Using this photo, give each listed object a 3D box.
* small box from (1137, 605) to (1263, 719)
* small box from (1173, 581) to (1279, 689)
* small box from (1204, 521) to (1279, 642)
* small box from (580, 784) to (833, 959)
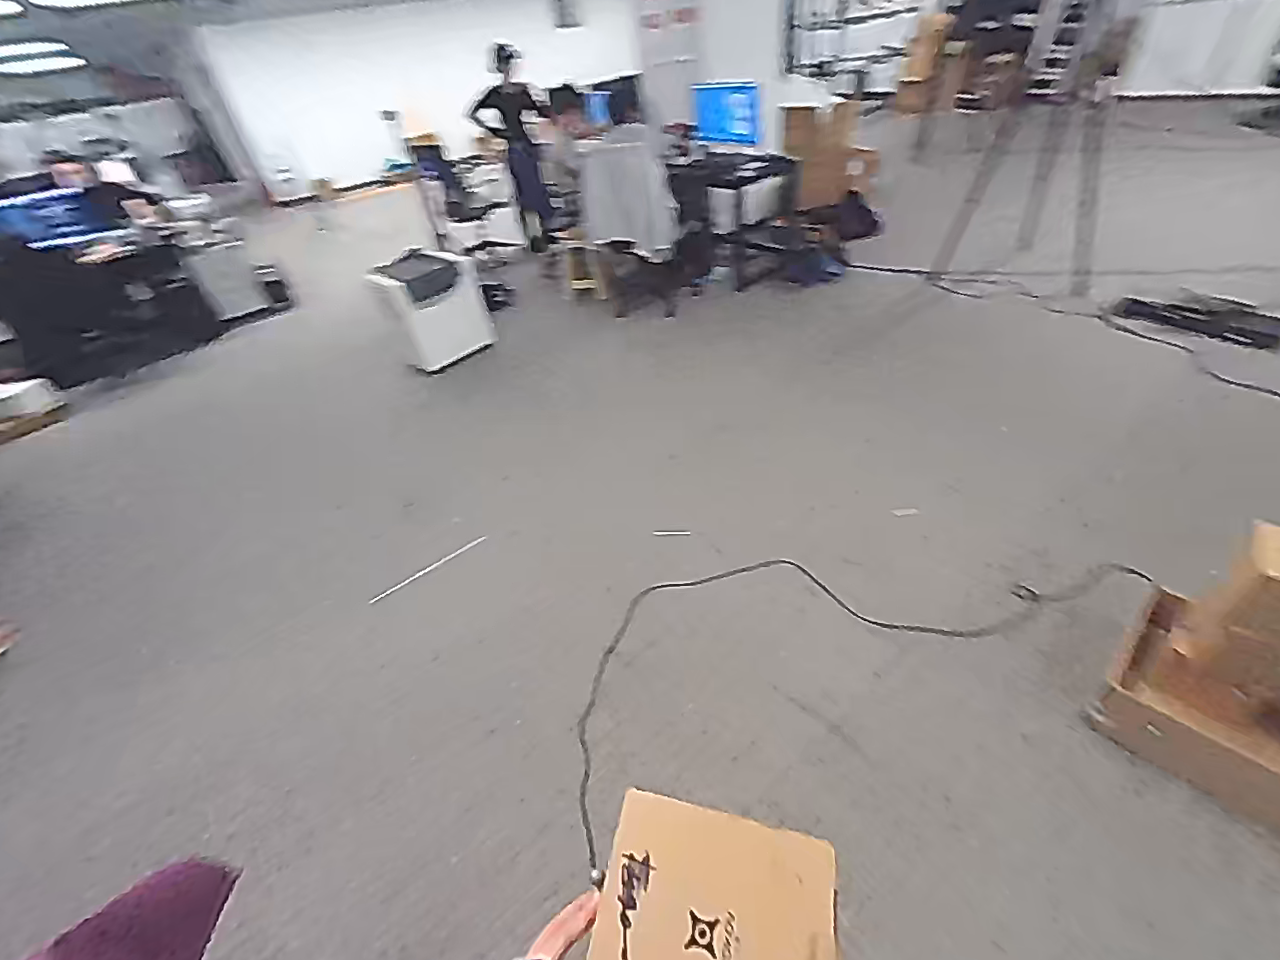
[{"bbox_3d":[1.397,0.453,1.344,0.168,0.176,0.179,-37,49,-26],"label":"small box"},{"bbox_3d":[1.370,0.345,1.225,0.179,0.176,0.168,16,48,27],"label":"small box"},{"bbox_3d":[1.337,0.221,1.123,0.179,0.176,0.168,22,51,32],"label":"small box"},{"bbox_3d":[0.050,0.389,0.453,0.179,0.176,0.168,11,45,11],"label":"small box"}]
